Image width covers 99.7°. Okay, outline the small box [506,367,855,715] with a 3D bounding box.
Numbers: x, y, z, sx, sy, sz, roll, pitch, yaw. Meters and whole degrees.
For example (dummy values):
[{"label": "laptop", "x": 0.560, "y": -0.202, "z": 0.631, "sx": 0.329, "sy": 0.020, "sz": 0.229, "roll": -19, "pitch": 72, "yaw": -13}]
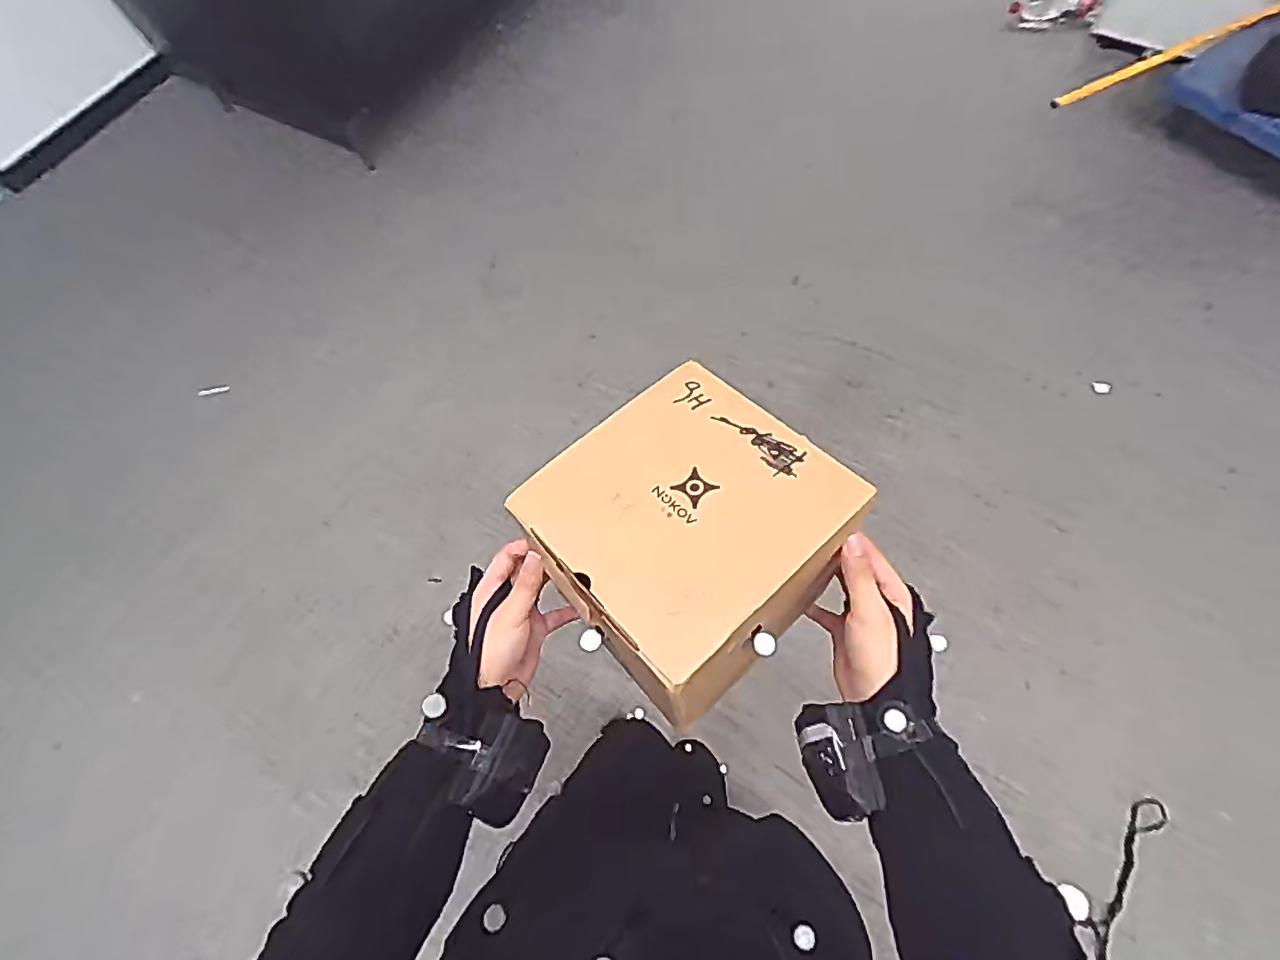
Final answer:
[{"label": "small box", "x": 0.033, "y": 0.054, "z": 0.422, "sx": 0.179, "sy": 0.176, "sz": 0.168, "roll": -40, "pitch": 62, "yaw": -17}]
